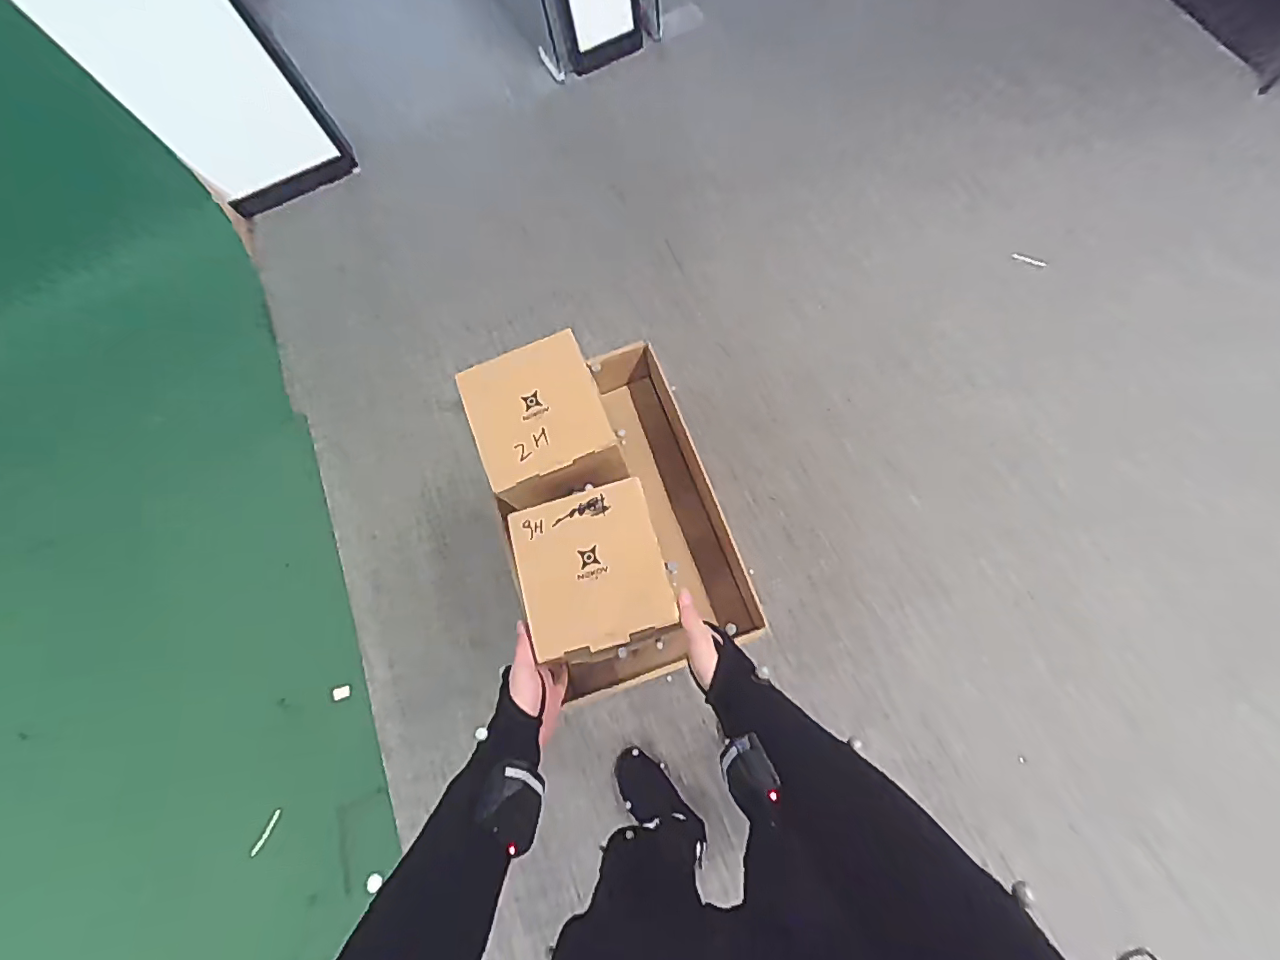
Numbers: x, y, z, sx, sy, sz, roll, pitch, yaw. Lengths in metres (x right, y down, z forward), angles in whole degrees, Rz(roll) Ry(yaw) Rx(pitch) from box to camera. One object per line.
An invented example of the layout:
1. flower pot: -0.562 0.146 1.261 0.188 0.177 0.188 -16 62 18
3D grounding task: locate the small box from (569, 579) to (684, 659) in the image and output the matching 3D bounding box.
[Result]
1. small box: -0.033 0.168 0.843 0.168 0.176 0.179 -17 71 0

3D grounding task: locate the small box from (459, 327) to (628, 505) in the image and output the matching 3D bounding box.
1. small box: -0.126 -0.075 0.760 0.168 0.176 0.179 -22 74 0

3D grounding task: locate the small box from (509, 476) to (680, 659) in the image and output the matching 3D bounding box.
1. small box: -0.048 0.117 0.688 0.168 0.176 0.179 -16 72 1
